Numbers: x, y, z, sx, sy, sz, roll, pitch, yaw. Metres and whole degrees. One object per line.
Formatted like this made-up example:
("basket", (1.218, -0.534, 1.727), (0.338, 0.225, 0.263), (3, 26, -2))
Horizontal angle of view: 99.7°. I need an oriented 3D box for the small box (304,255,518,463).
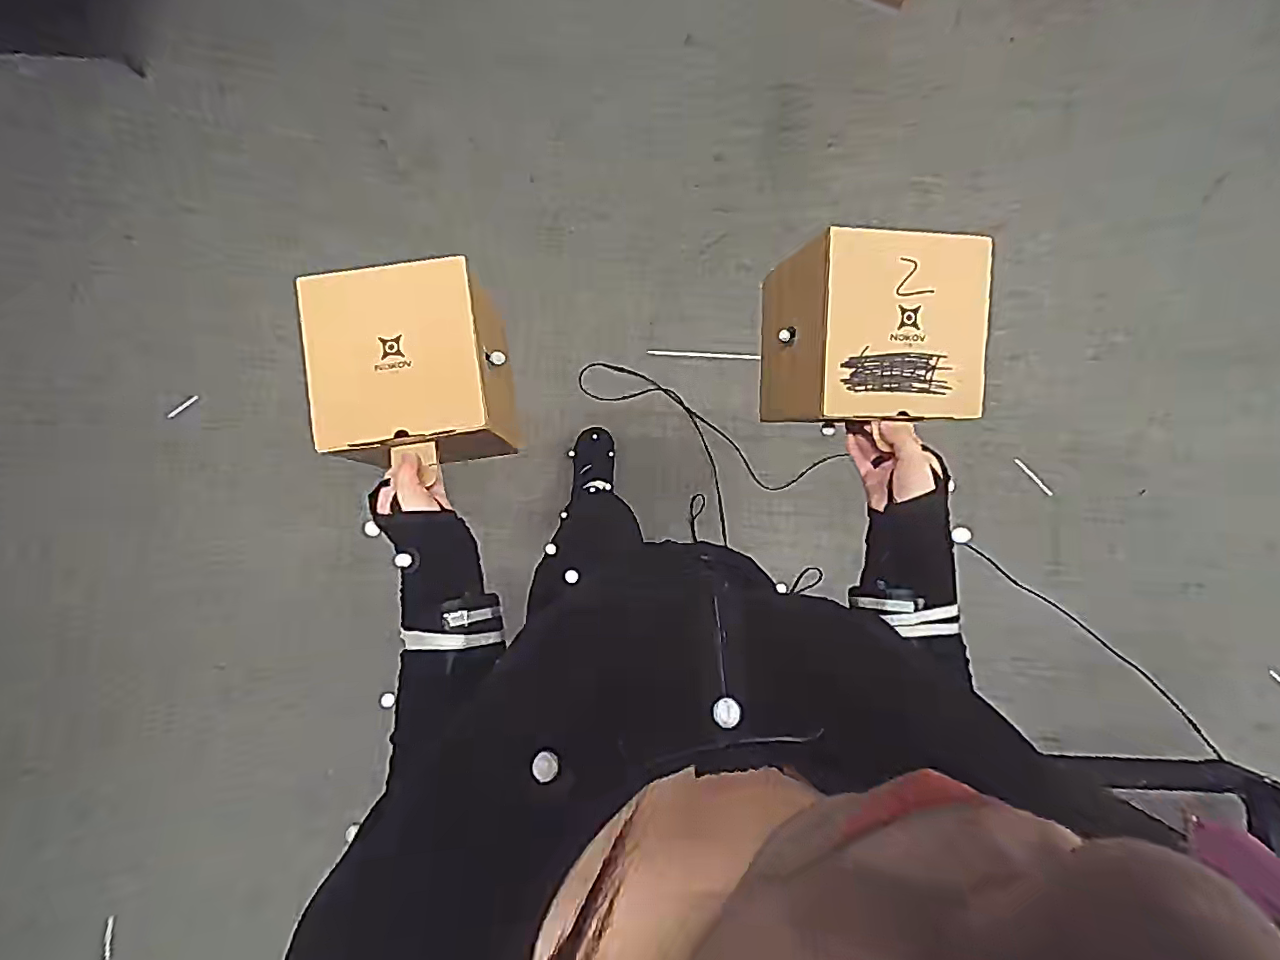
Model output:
("small box", (-0.238, -0.121, 0.599), (0.168, 0.176, 0.179), (-7, 87, -3))
